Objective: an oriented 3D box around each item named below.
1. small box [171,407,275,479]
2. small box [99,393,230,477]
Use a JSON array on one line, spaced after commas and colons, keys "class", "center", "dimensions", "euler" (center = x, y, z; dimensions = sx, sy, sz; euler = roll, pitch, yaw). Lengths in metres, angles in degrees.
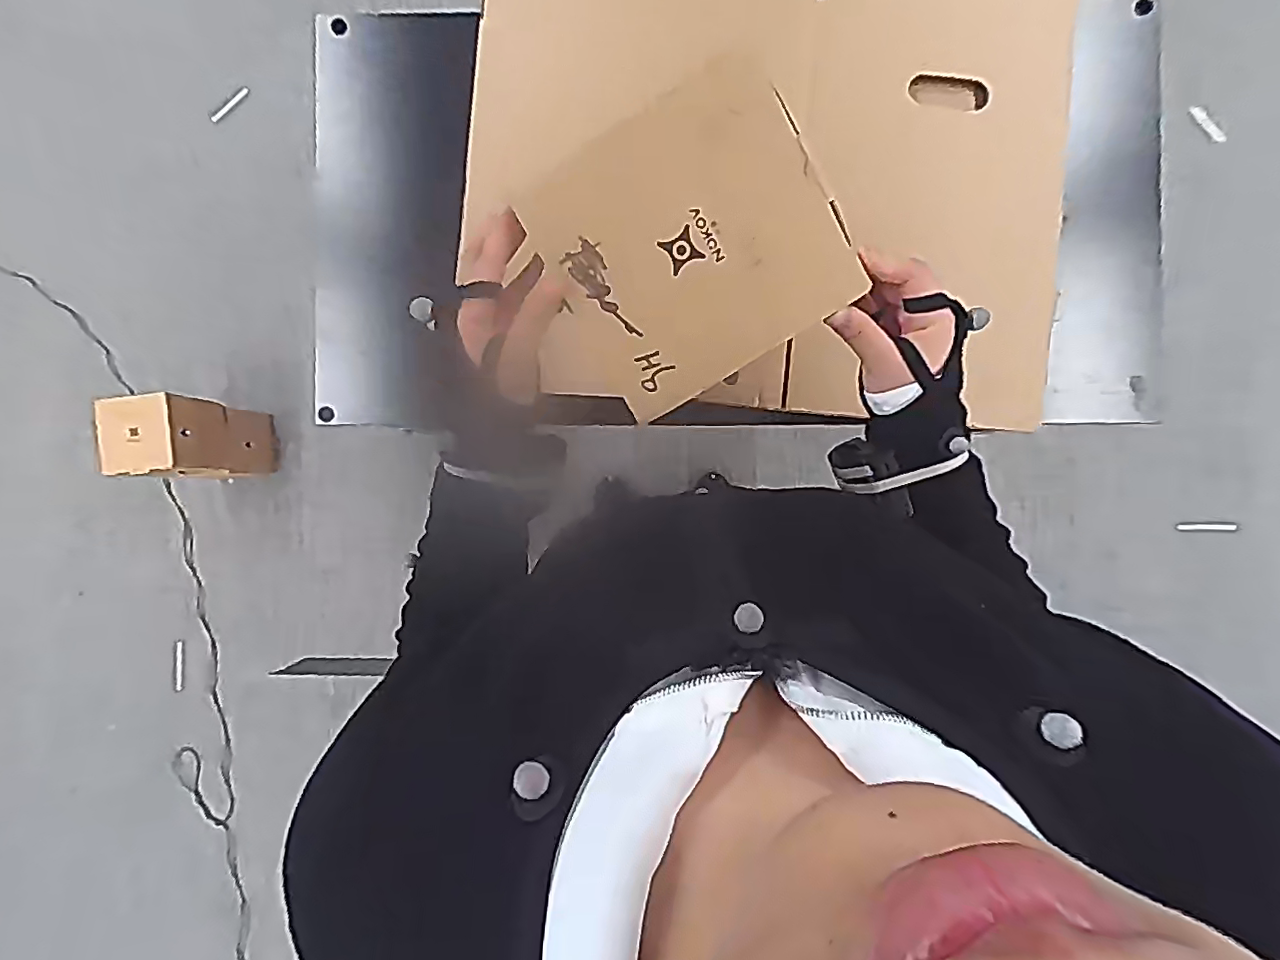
[{"class": "small box", "center": [-1.125, -0.095, 1.462], "dimensions": [0.168, 0.176, 0.179], "euler": [-4, 90, 2]}, {"class": "small box", "center": [-1.130, -0.102, 1.299], "dimensions": [0.168, 0.176, 0.179], "euler": [-7, 89, 1]}]
